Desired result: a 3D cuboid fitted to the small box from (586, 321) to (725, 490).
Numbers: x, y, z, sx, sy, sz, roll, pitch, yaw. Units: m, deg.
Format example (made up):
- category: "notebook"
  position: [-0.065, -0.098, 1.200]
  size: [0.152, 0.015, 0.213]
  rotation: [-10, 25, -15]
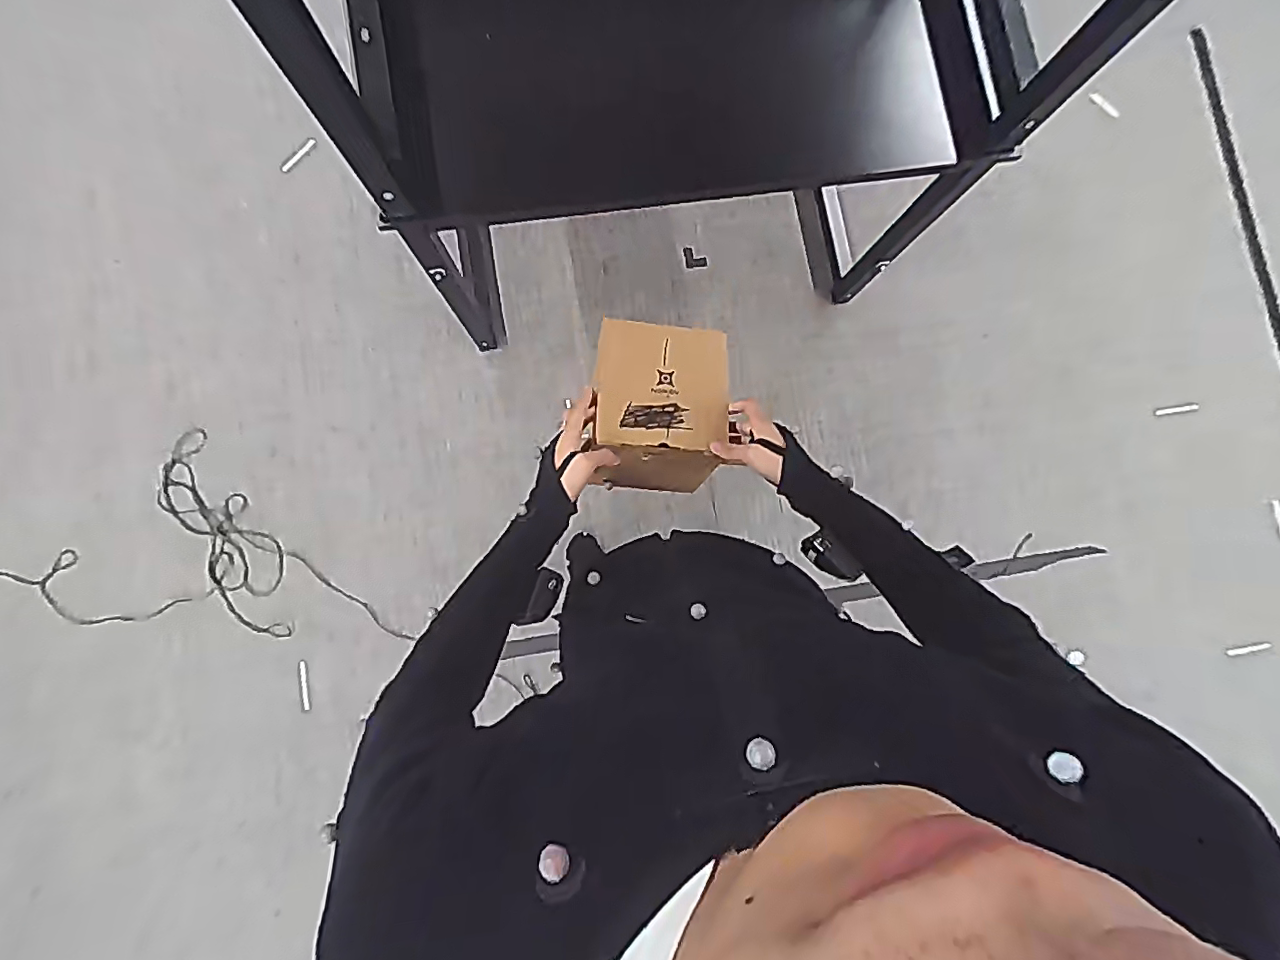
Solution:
- category: "small box"
  position: [0.015, -0.092, 0.749]
  size: [0.168, 0.176, 0.179]
  rotation: [4, 71, -8]
